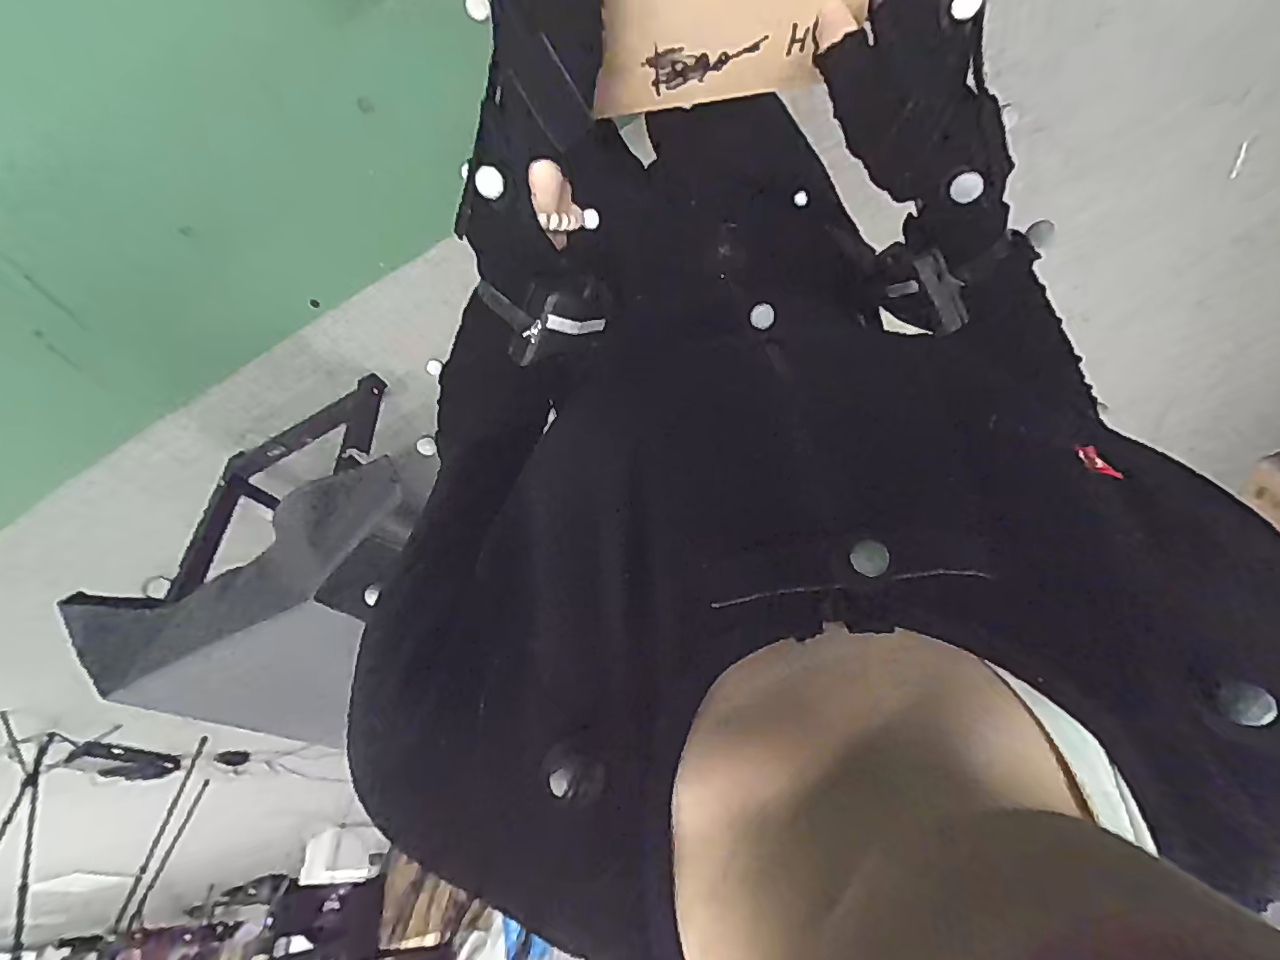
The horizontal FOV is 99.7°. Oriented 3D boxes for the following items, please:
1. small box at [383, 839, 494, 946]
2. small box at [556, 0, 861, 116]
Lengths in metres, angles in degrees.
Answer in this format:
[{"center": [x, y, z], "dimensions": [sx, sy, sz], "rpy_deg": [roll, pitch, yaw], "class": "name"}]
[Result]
[{"center": [-0.456, 0.947, 1.248], "dimensions": [0.168, 0.176, 0.179], "rpy_deg": [-24, 137, 13], "class": "small box"}, {"center": [0.034, -0.348, 0.291], "dimensions": [0.168, 0.176, 0.179], "rpy_deg": [-1, 158, 13], "class": "small box"}]
